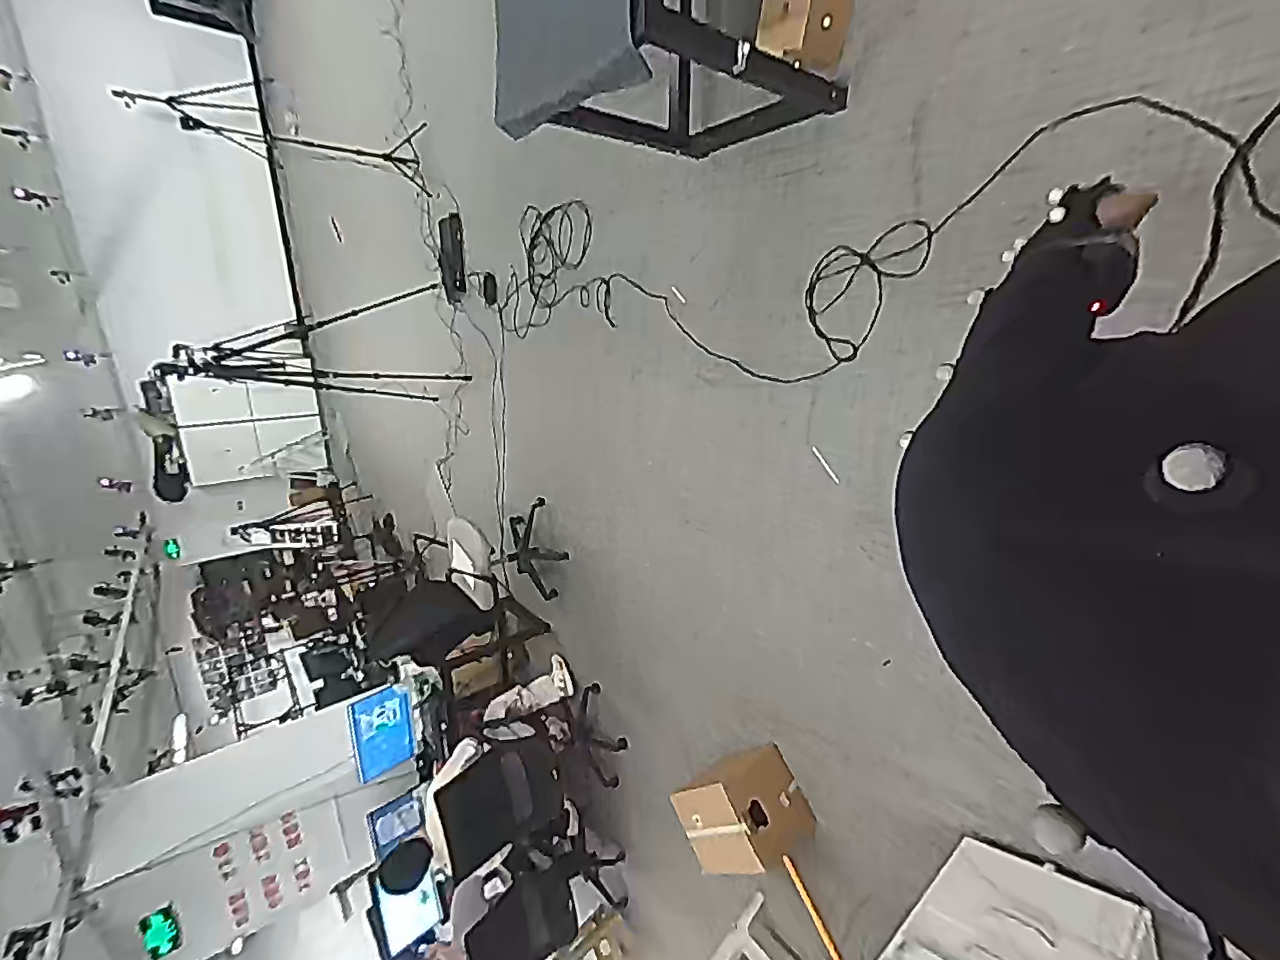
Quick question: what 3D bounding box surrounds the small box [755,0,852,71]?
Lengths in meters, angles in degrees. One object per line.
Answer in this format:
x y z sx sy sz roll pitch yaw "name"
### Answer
0.439 -1.220 1.448 0.168 0.176 0.179 33 126 42 "small box"
